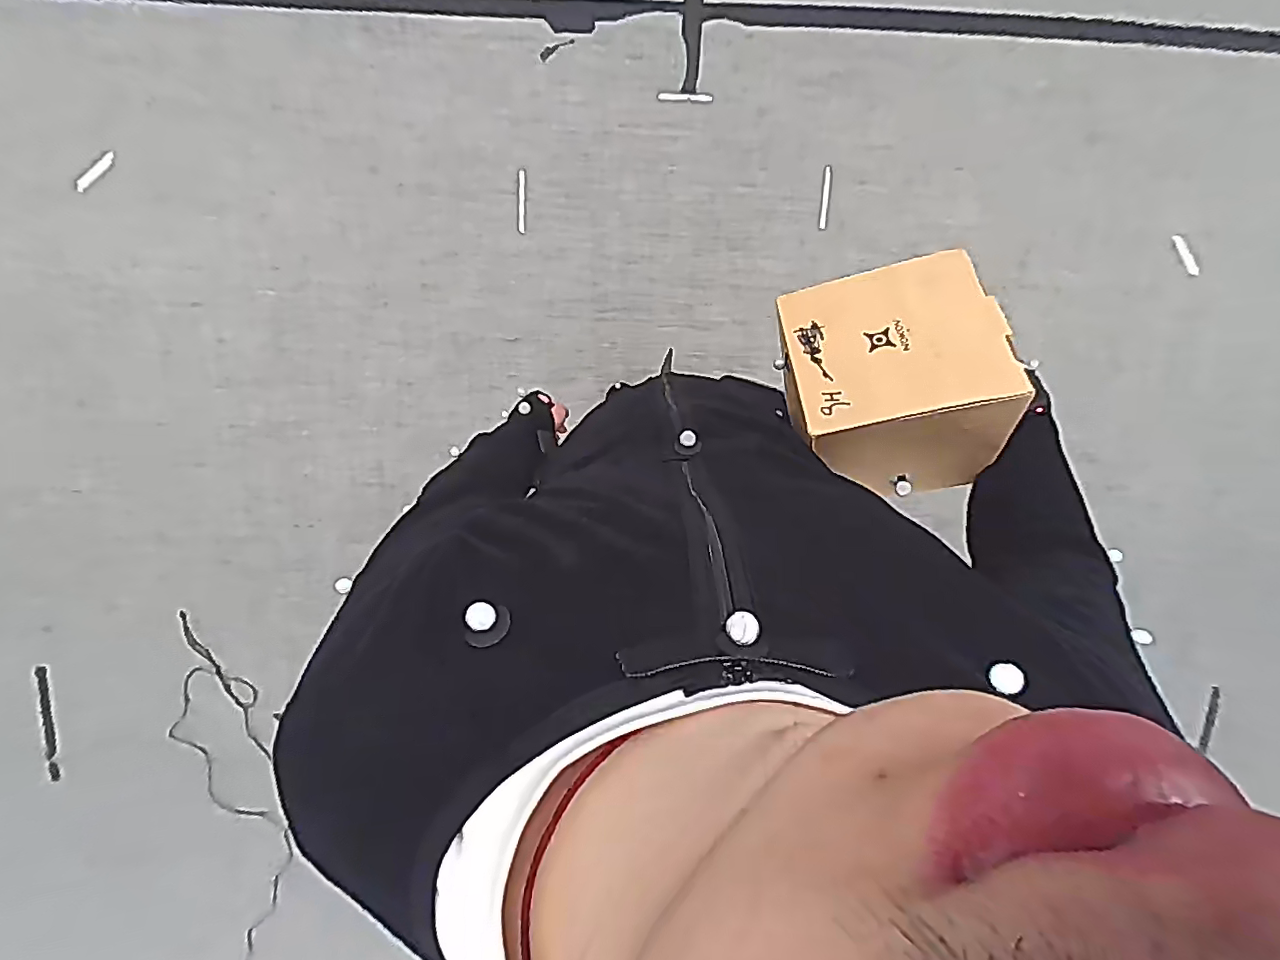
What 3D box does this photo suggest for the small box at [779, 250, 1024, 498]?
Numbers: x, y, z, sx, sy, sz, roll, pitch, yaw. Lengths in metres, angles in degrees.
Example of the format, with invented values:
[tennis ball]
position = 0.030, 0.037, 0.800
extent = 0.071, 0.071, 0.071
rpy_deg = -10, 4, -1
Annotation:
[small box]
position = 0.250, -0.097, 0.564
extent = 0.179, 0.176, 0.168
rpy_deg = -11, 61, 14
